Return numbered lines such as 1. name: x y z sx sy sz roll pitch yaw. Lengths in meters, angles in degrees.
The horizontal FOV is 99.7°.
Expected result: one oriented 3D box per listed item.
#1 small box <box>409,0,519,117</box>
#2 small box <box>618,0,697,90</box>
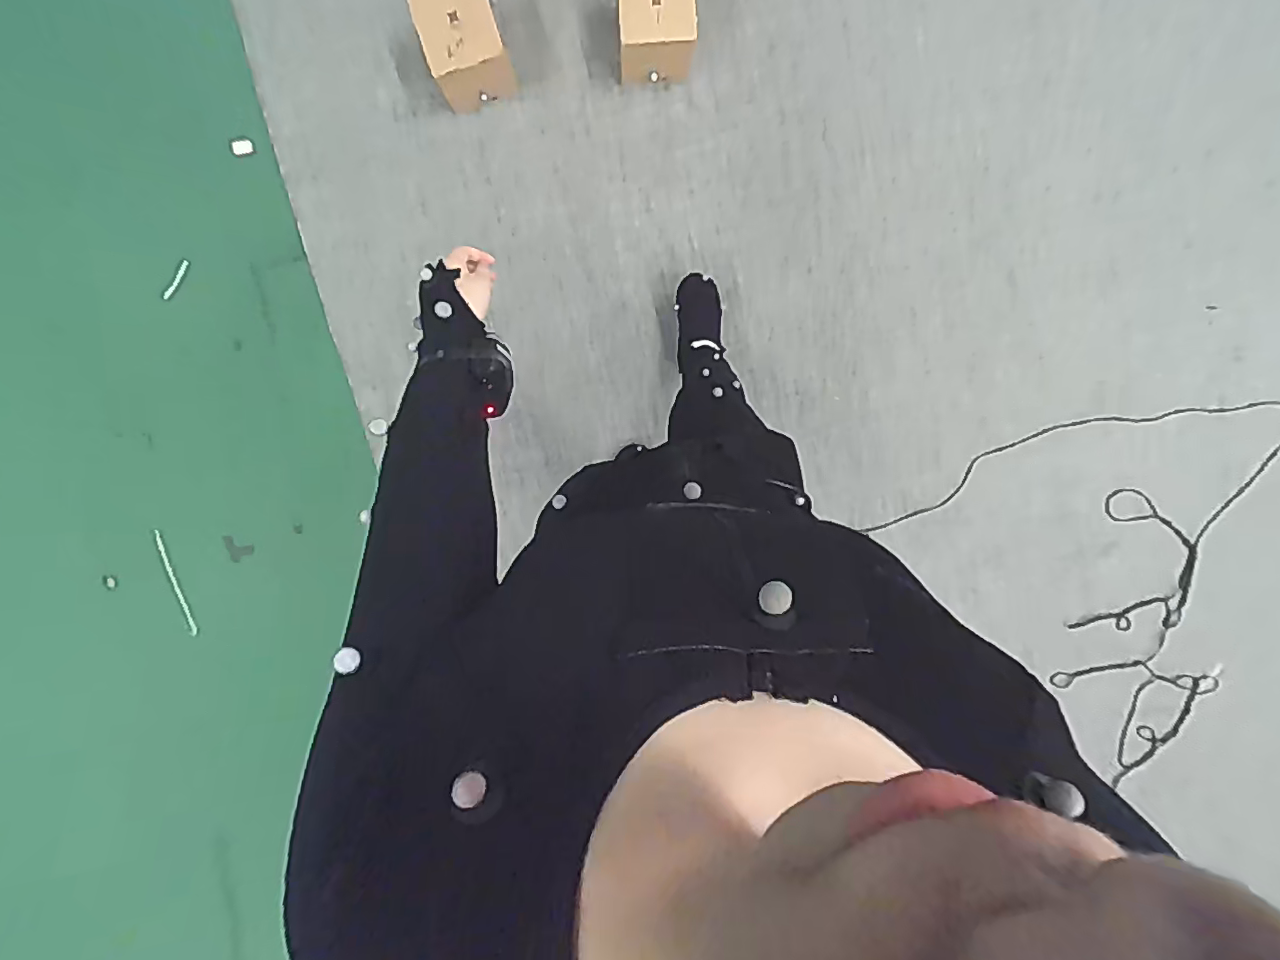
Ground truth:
1. small box: -0.389 -0.971 1.219 0.168 0.176 0.179 -17 99 2
2. small box: 0.036 -1.021 1.218 0.168 0.176 0.179 -3 100 0
